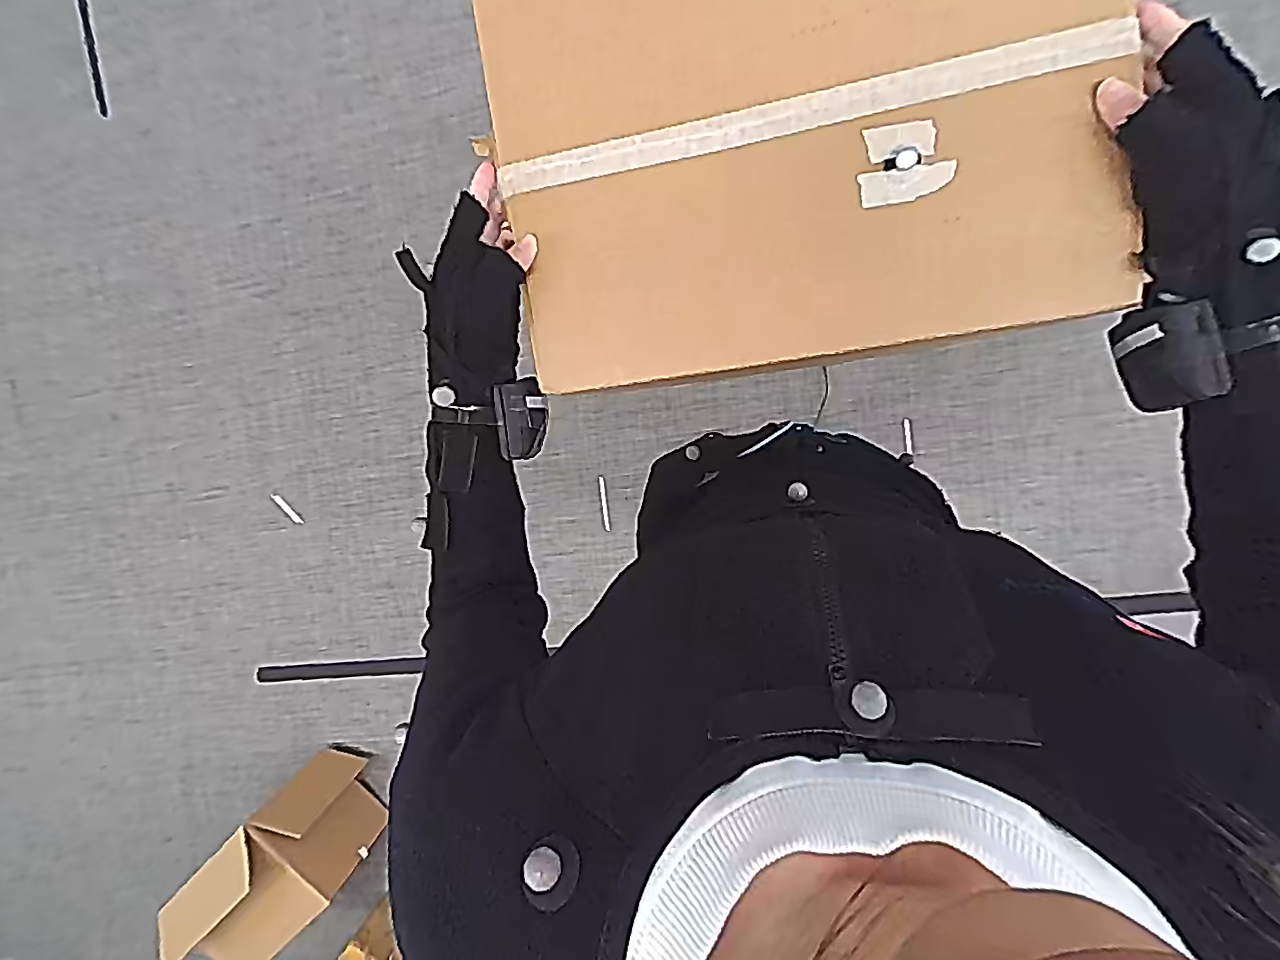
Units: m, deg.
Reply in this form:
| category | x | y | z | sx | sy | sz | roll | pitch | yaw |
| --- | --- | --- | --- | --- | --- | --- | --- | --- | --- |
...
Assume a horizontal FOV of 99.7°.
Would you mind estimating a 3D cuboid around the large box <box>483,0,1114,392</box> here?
| category | x | y | z | sx | sy | sz | roll | pitch | yaw |
| --- | --- | --- | --- | --- | --- | --- | --- | --- | --- |
| large box | 0.120 | -0.269 | 0.518 | 0.408 | 0.320 | 0.320 | -7 | 99 | 9 |
